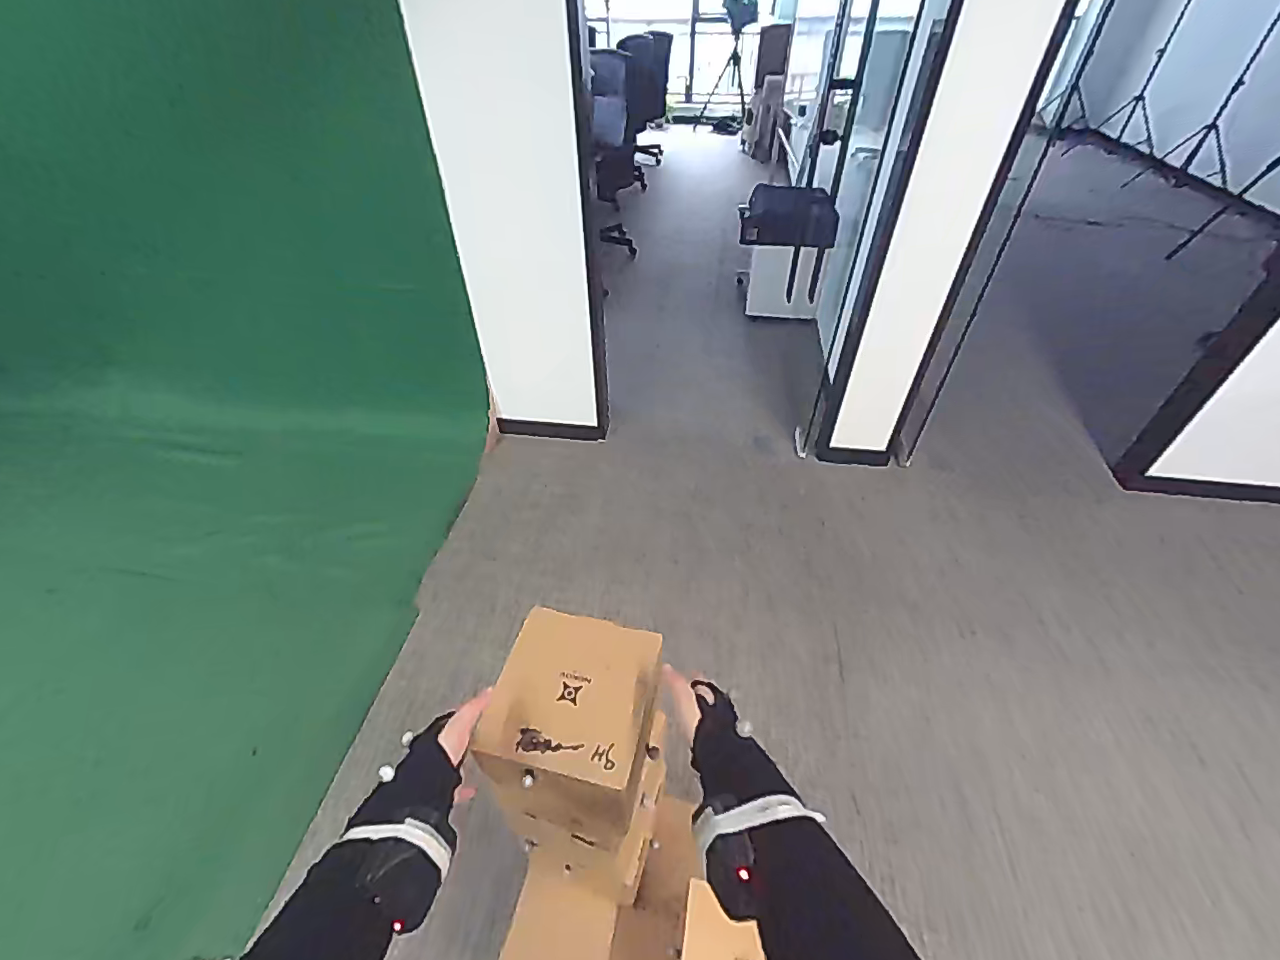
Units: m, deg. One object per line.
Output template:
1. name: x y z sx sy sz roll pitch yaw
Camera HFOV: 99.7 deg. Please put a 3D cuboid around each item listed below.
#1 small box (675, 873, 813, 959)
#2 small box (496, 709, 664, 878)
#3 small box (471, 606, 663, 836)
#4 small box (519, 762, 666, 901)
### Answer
1. small box: 0.130 0.662 0.718 0.168 0.176 0.179 8 44 8
2. small box: -0.071 0.409 0.749 0.168 0.176 0.179 15 43 15
3. small box: -0.073 0.283 0.642 0.168 0.176 0.179 9 43 11
4. small box: -0.068 0.532 0.858 0.179 0.176 0.168 14 45 13
